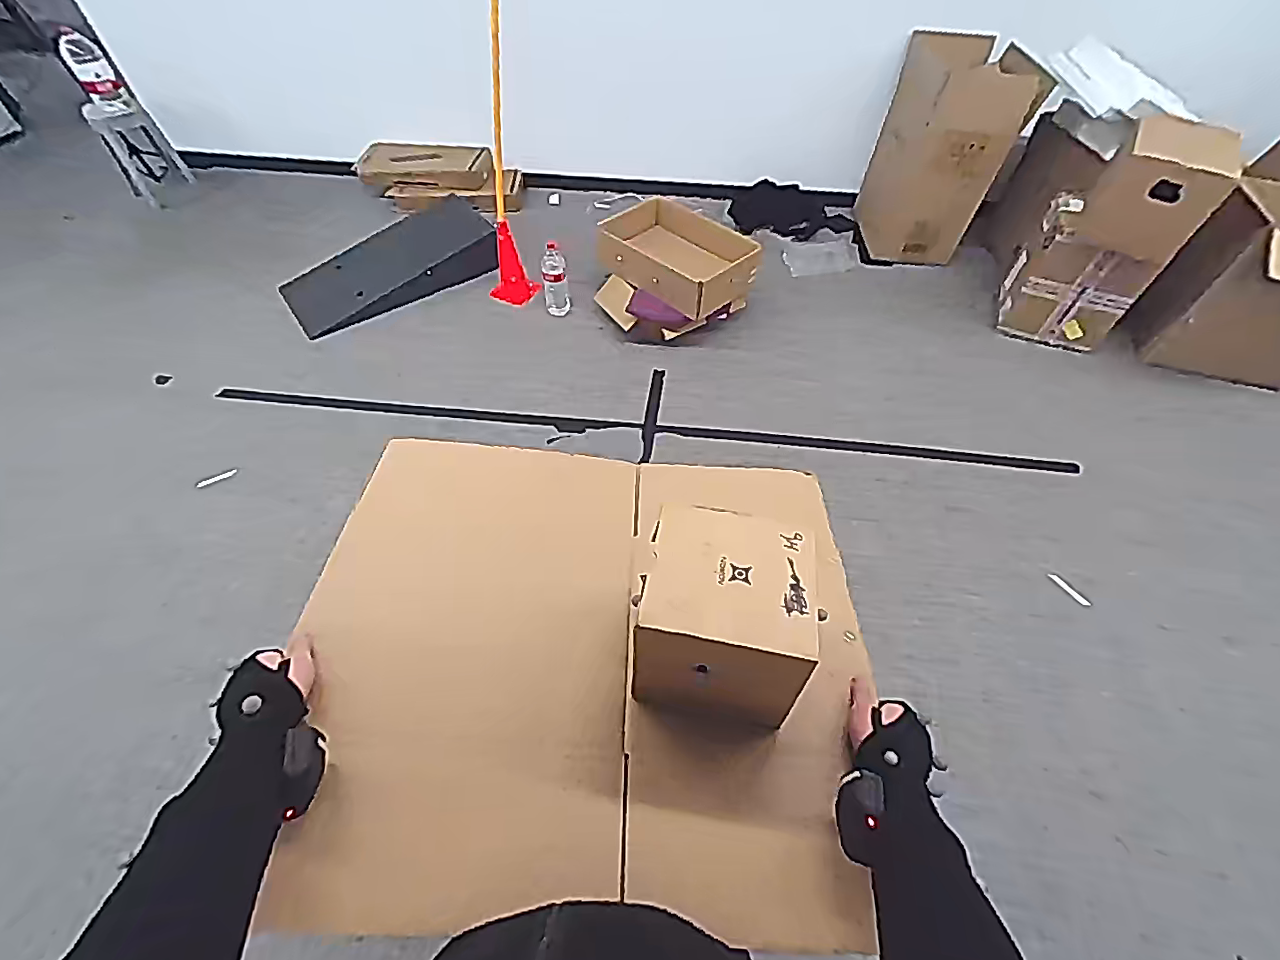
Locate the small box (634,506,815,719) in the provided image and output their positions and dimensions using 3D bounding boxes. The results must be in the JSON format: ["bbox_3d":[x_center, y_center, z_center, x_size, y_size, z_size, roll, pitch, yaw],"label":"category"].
[{"bbox_3d":[0.094,0.155,0.626,0.179,0.176,0.168,8,47,7],"label":"small box"}]
